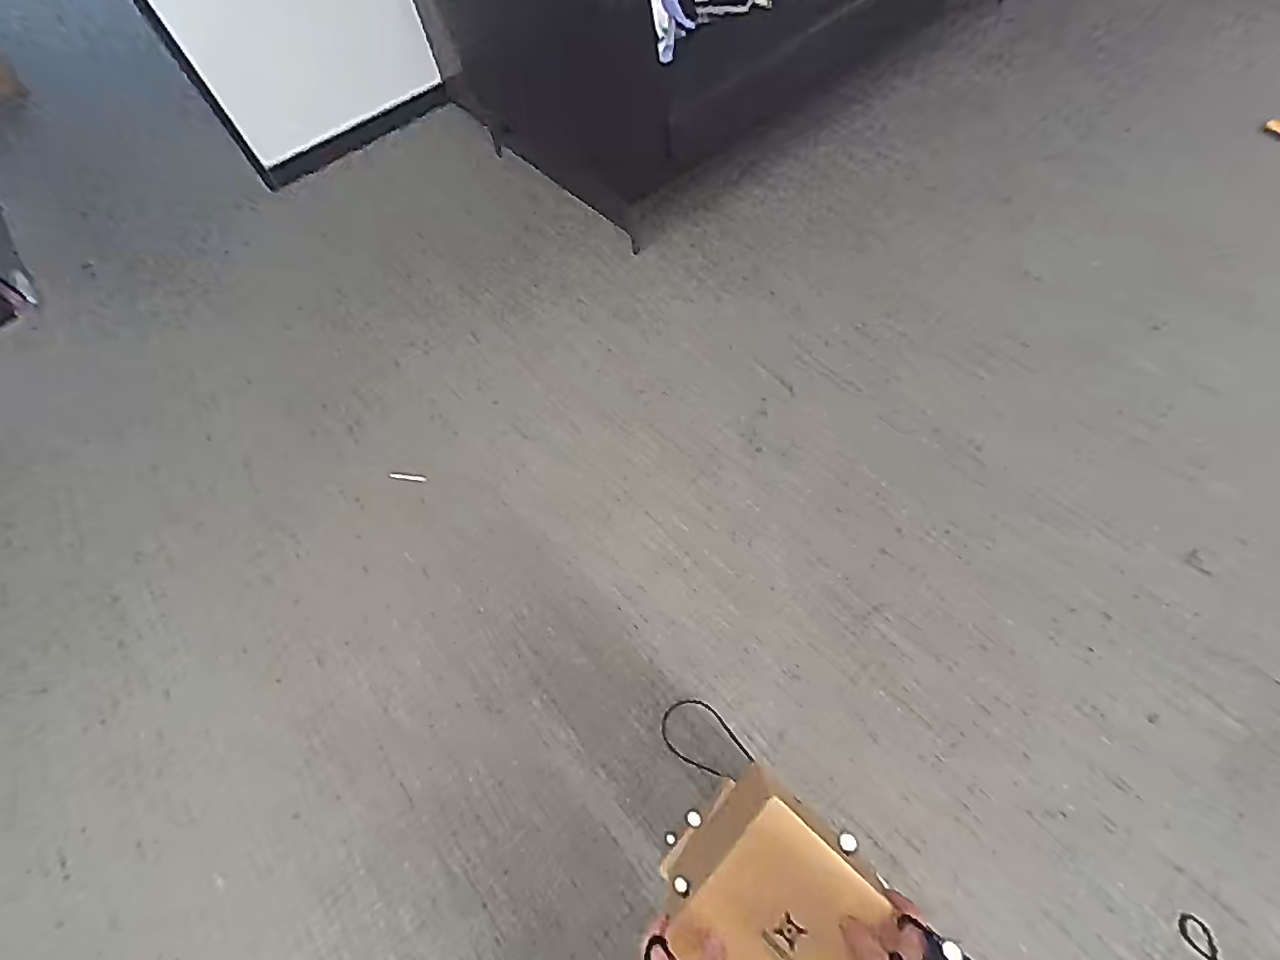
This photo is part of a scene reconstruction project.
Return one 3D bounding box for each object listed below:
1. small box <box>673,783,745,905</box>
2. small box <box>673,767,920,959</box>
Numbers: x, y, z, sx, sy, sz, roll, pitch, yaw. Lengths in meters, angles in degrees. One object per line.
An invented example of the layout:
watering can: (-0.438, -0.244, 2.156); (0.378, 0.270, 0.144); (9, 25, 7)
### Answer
small box: (0.167, 0.557, 0.768); (0.179, 0.176, 0.168); (29, 68, 22)
small box: (0.154, 0.450, 0.584); (0.168, 0.176, 0.179); (39, 84, 16)
